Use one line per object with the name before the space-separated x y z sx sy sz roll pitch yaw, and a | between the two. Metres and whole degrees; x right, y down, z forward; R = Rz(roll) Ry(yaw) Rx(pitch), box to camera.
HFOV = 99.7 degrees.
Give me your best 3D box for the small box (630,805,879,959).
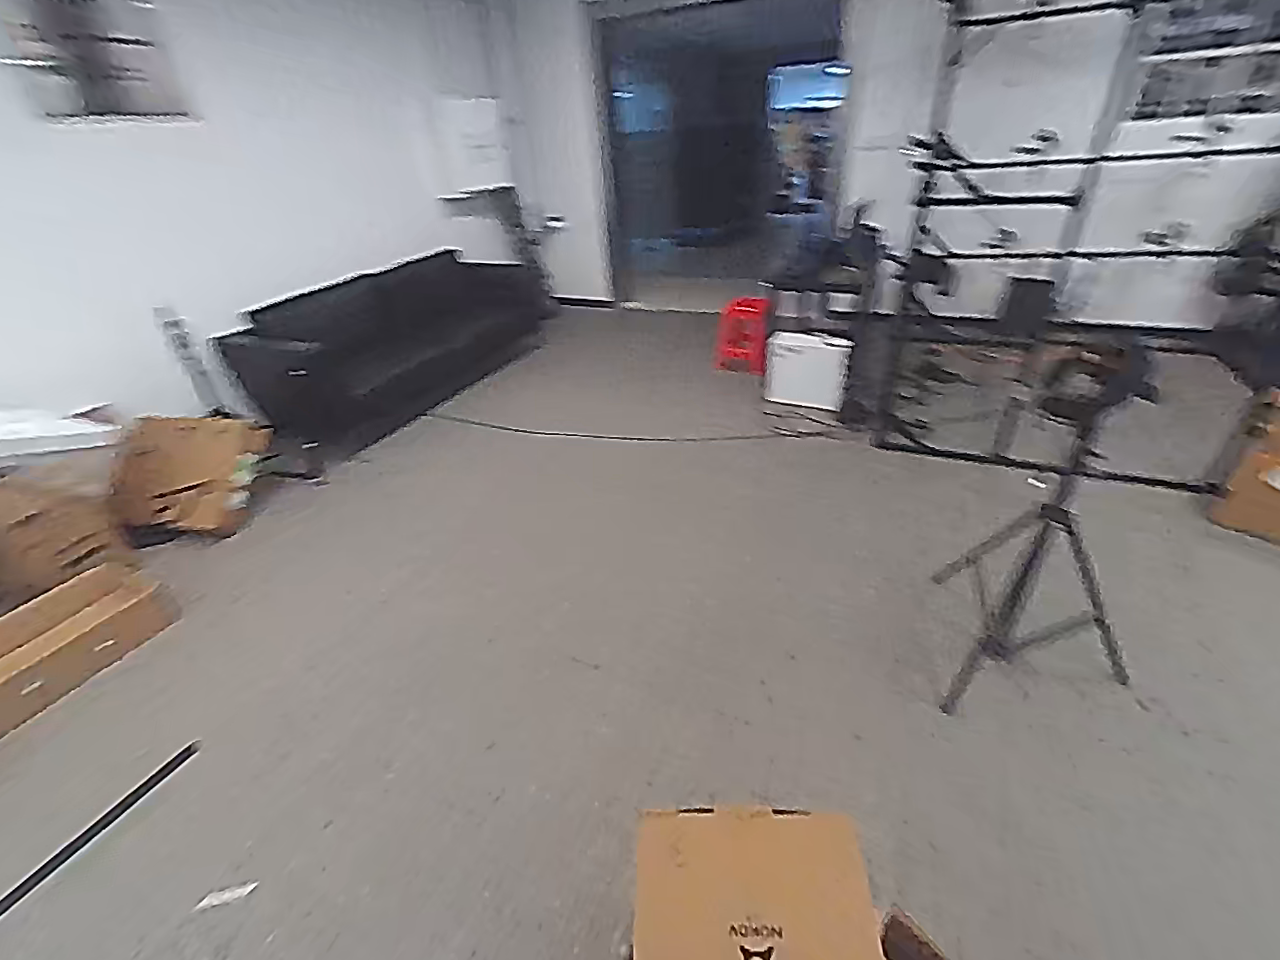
small box | 0.078 0.370 0.411 0.168 0.176 0.179 -2 45 4
